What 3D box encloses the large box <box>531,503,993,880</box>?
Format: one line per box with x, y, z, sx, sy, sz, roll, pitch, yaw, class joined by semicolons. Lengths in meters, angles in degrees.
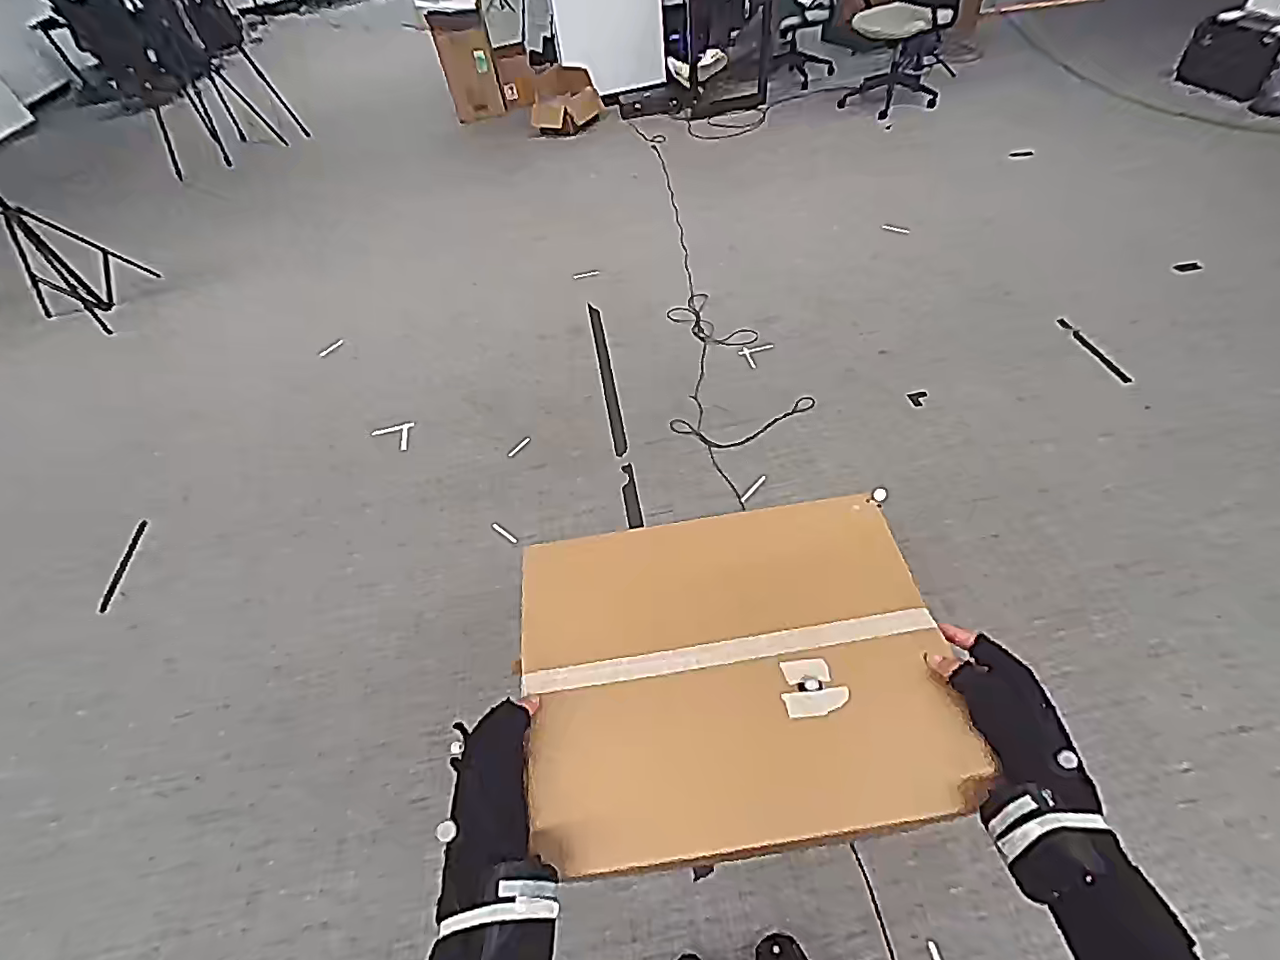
0.100;0.268;0.666;0.408;0.320;0.320;-9;54;-1;large box
